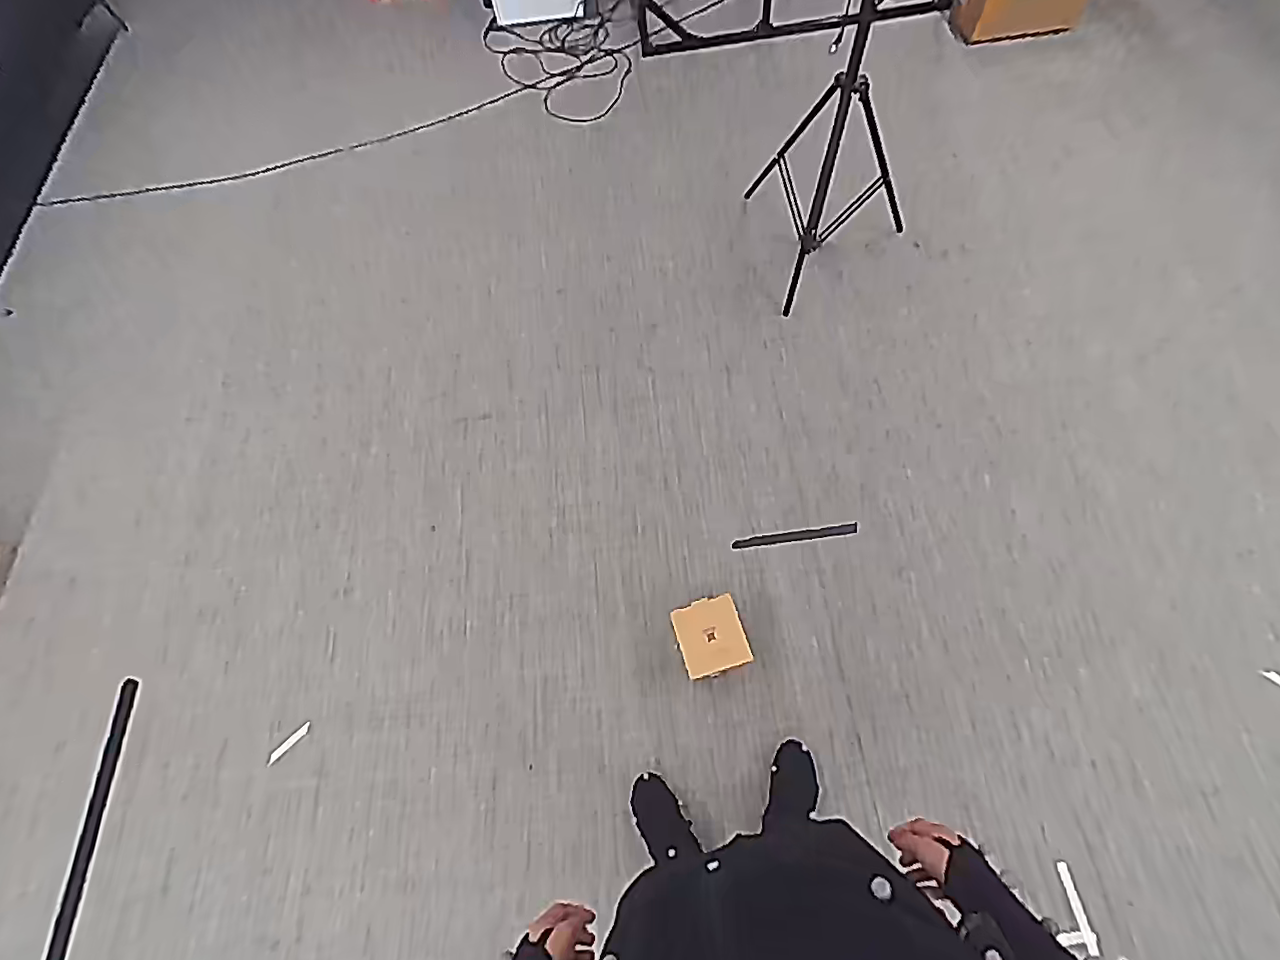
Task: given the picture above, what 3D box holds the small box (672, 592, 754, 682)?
[{"bbox_3d":[0.186,0.417,1.419,0.168,0.176,0.179,-17,66,-1],"label":"small box"}]
